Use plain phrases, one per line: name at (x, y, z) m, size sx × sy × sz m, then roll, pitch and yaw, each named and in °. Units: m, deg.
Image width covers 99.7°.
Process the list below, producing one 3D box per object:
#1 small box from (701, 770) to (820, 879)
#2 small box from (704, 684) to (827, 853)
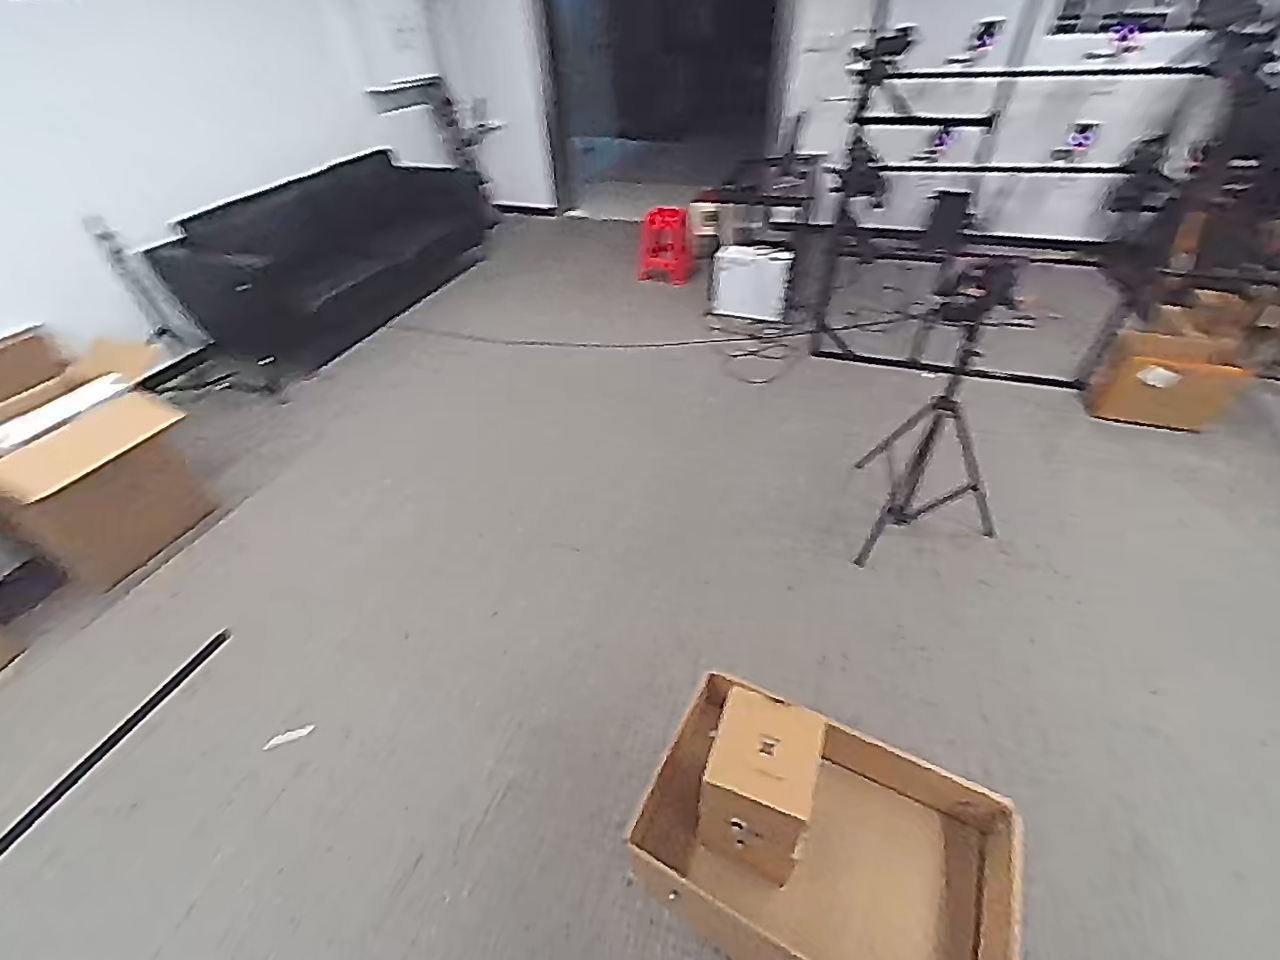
small box at (0.226, 0.625, 1.038) m, size 0.179 × 0.176 × 0.168 m, roll 17°, pitch 45°, yaw 20°
small box at (0.213, 0.497, 0.935) m, size 0.168 × 0.176 × 0.179 m, roll 14°, pitch 43°, yaw 19°
